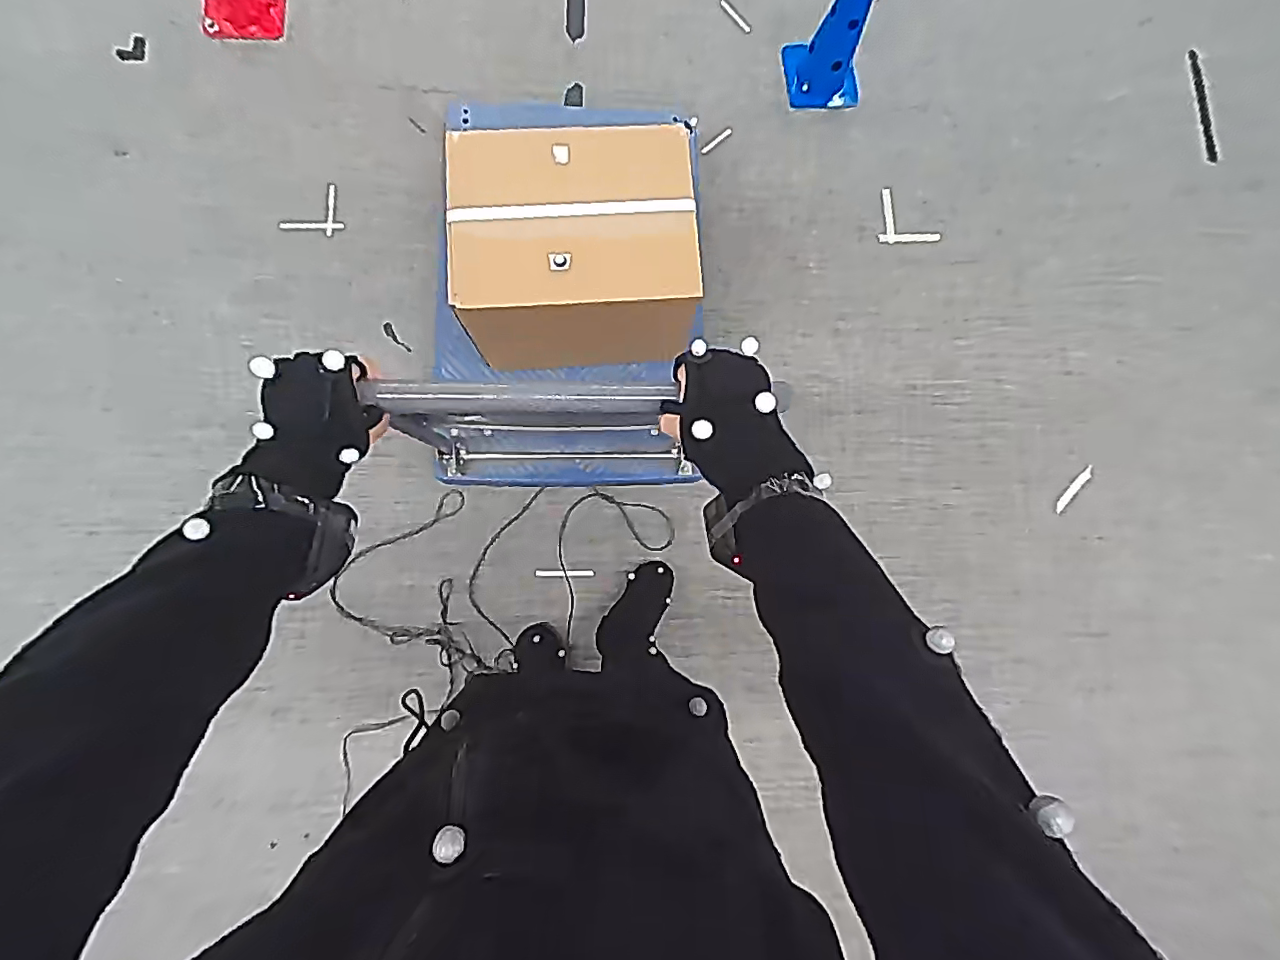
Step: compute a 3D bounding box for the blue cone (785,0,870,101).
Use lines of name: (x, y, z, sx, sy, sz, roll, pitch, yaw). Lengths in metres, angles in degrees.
blue cone: (0.516, -1.161, 1.340, 0.193, 0.380, 0.192, -4, 82, -5)
